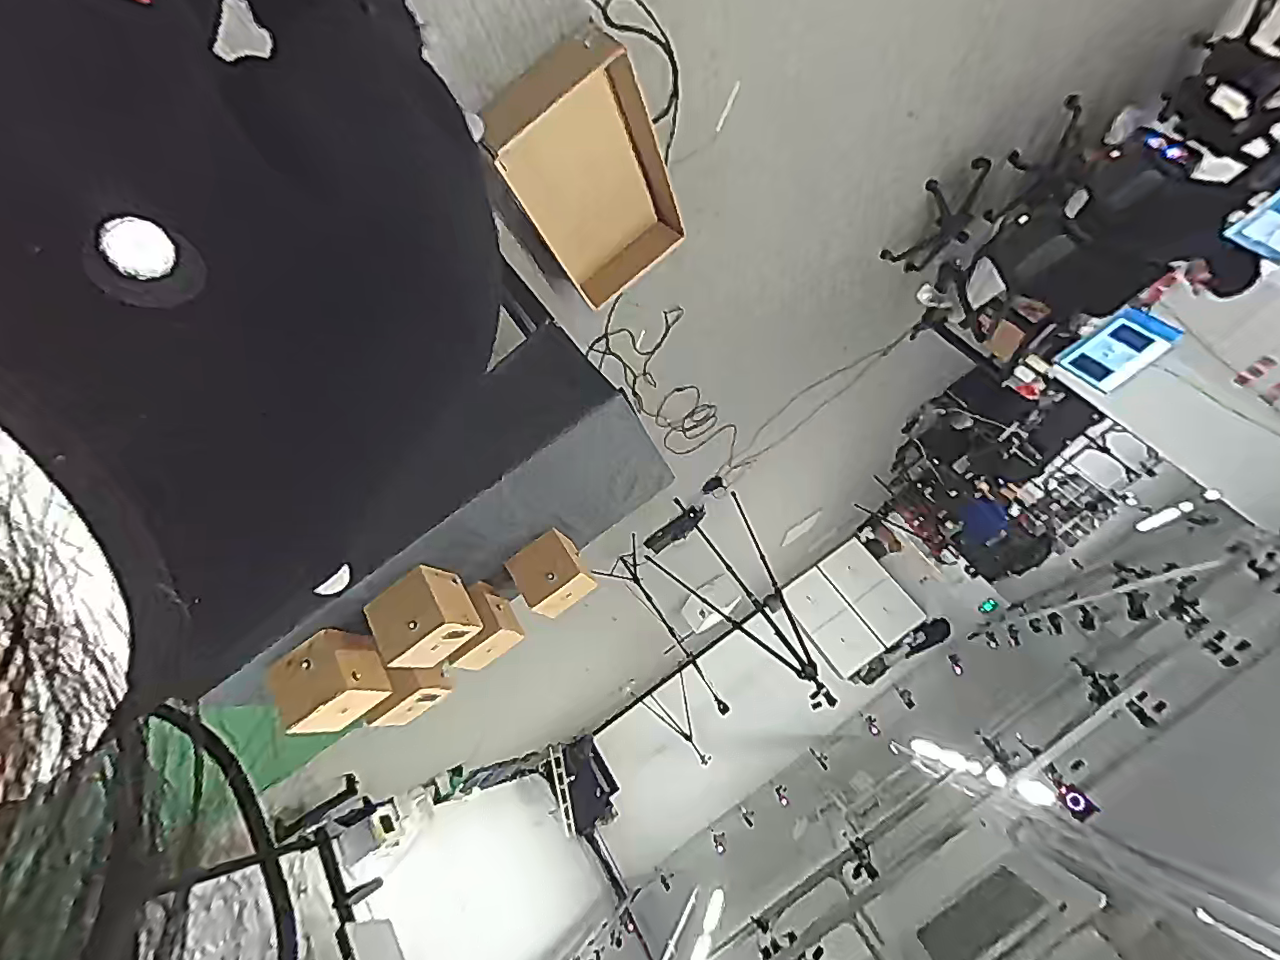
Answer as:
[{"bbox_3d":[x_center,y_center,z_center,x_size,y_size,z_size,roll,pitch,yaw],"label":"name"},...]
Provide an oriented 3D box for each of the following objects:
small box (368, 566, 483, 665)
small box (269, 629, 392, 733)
[{"bbox_3d":[-0.530,0.334,1.333,0.179,0.176,0.168,-38,155,1],"label":"small box"},{"bbox_3d":[-0.744,0.482,1.307,0.168,0.176,0.179,-36,155,-5],"label":"small box"}]
